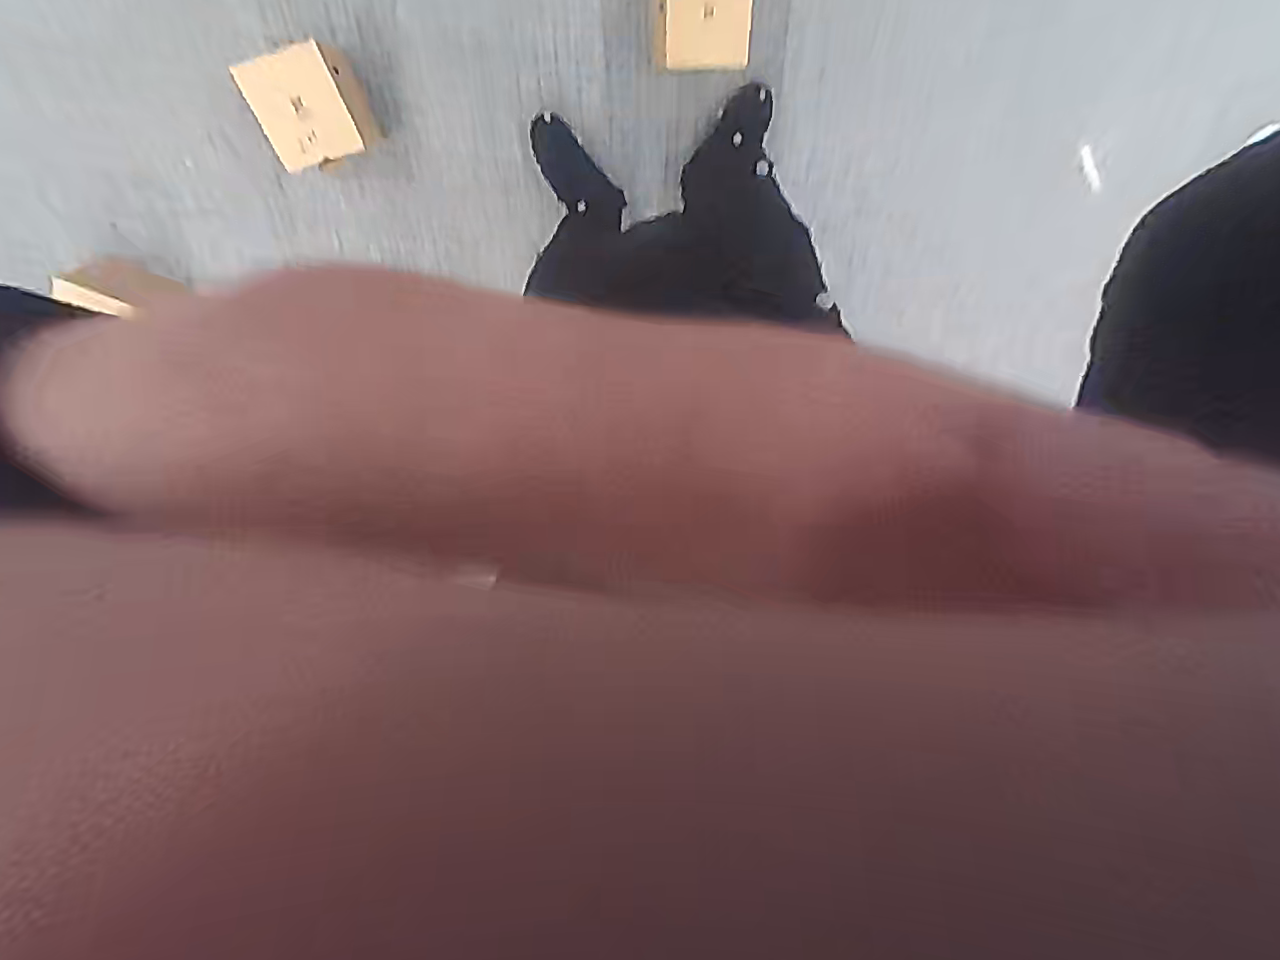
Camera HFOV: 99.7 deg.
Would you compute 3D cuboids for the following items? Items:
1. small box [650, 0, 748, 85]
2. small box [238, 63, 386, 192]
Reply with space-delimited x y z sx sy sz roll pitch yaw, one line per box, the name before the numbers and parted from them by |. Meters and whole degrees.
small box | 0.114 -0.907 1.091 0.168 0.176 0.179 -6 124 -5
small box | -0.647 -0.709 1.094 0.168 0.176 0.179 -17 126 2
